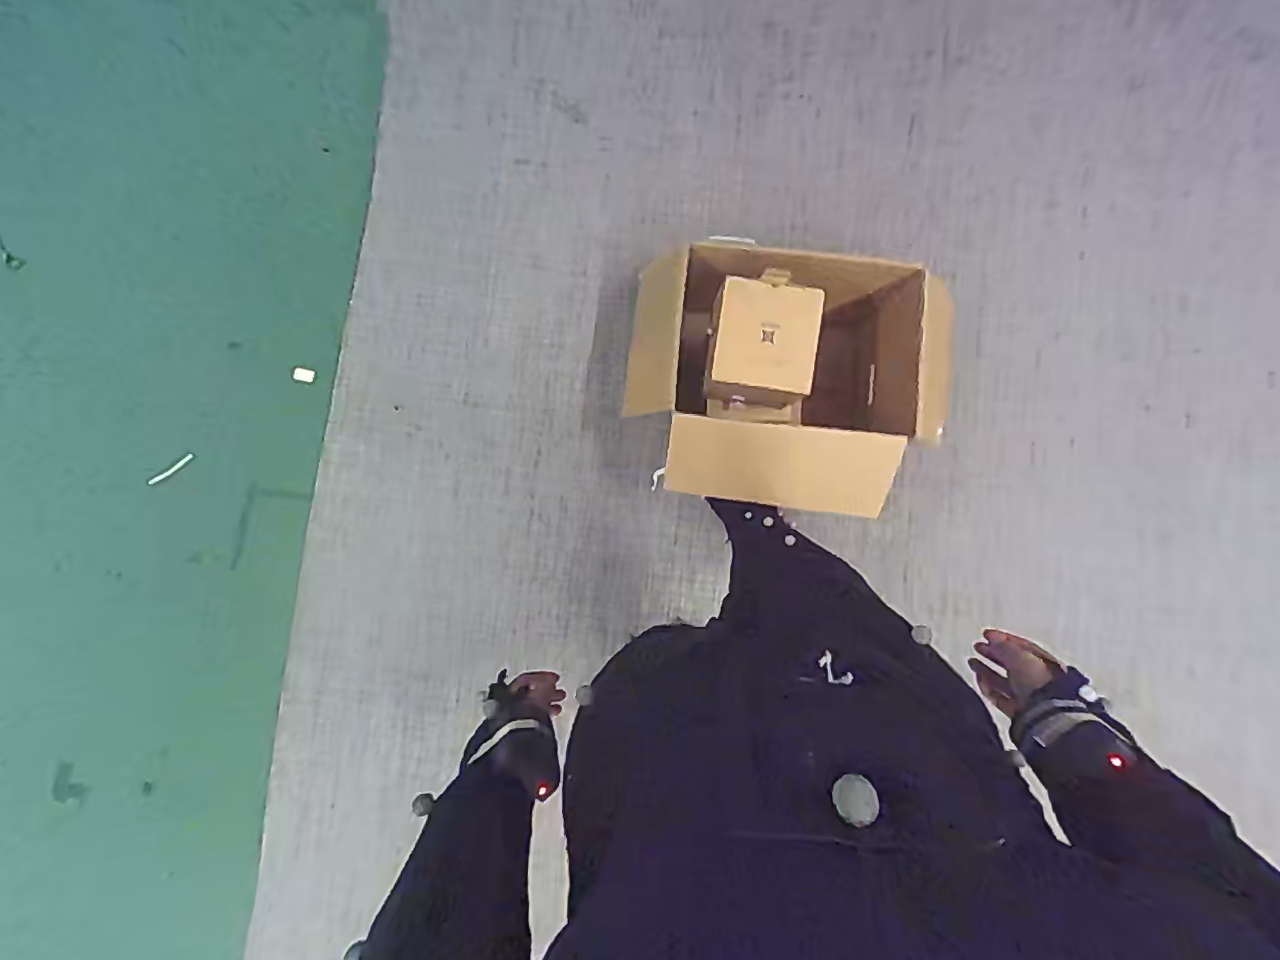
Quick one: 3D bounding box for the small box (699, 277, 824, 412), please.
[{"bbox_3d":[0.206,-0.231,0.963,0.168,0.176,0.179,10,88,-1],"label":"small box"}]
